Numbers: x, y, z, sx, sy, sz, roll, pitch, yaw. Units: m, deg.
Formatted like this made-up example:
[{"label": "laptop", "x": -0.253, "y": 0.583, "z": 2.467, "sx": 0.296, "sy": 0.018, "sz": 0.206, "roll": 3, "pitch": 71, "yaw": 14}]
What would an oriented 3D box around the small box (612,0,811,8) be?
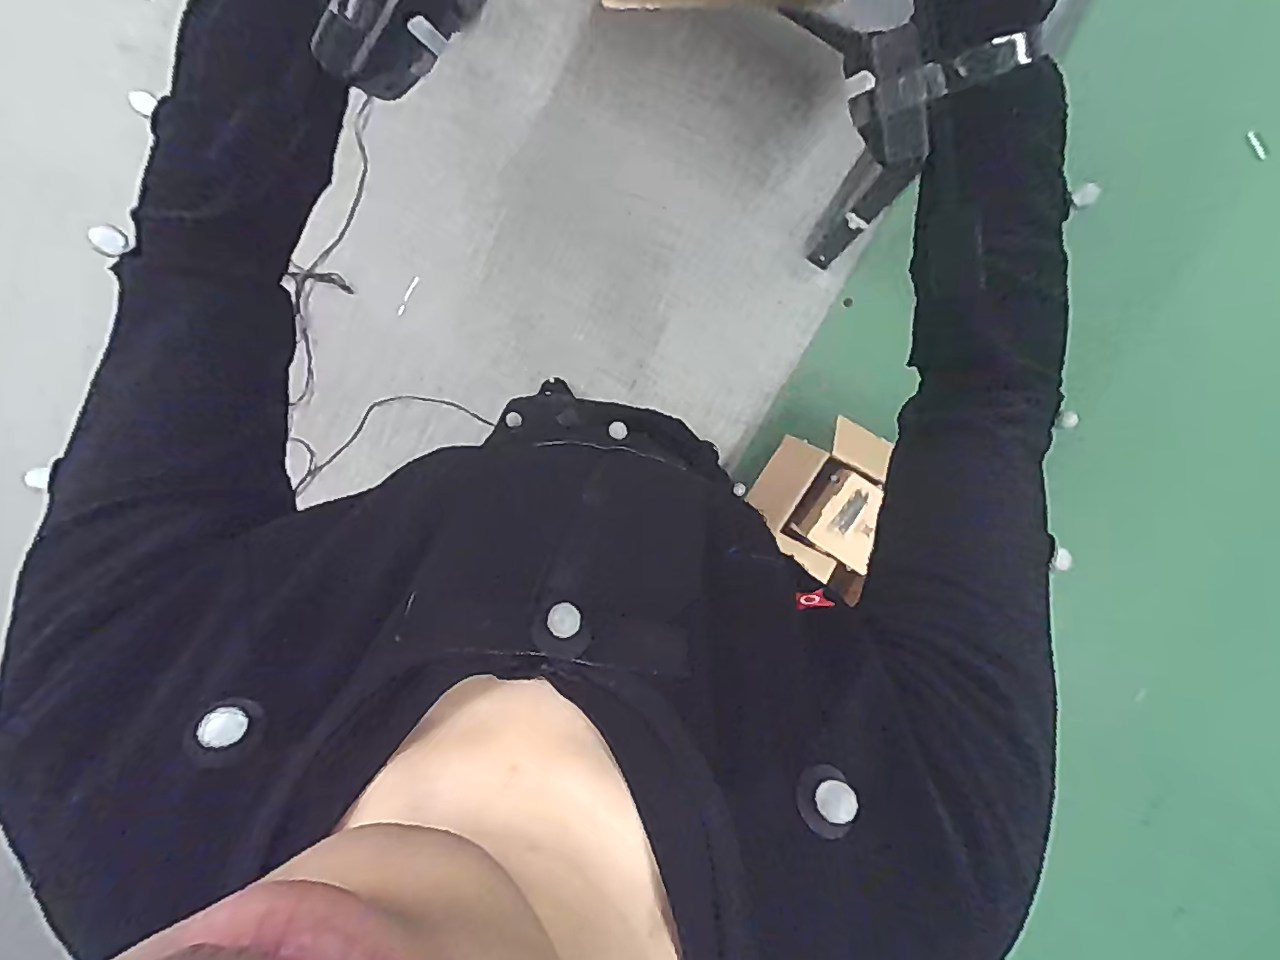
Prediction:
[{"label": "small box", "x": 0.044, "y": -0.407, "z": 0.285, "sx": 0.168, "sy": 0.176, "sz": 0.179, "roll": 6, "pitch": 96, "yaw": 7}]
